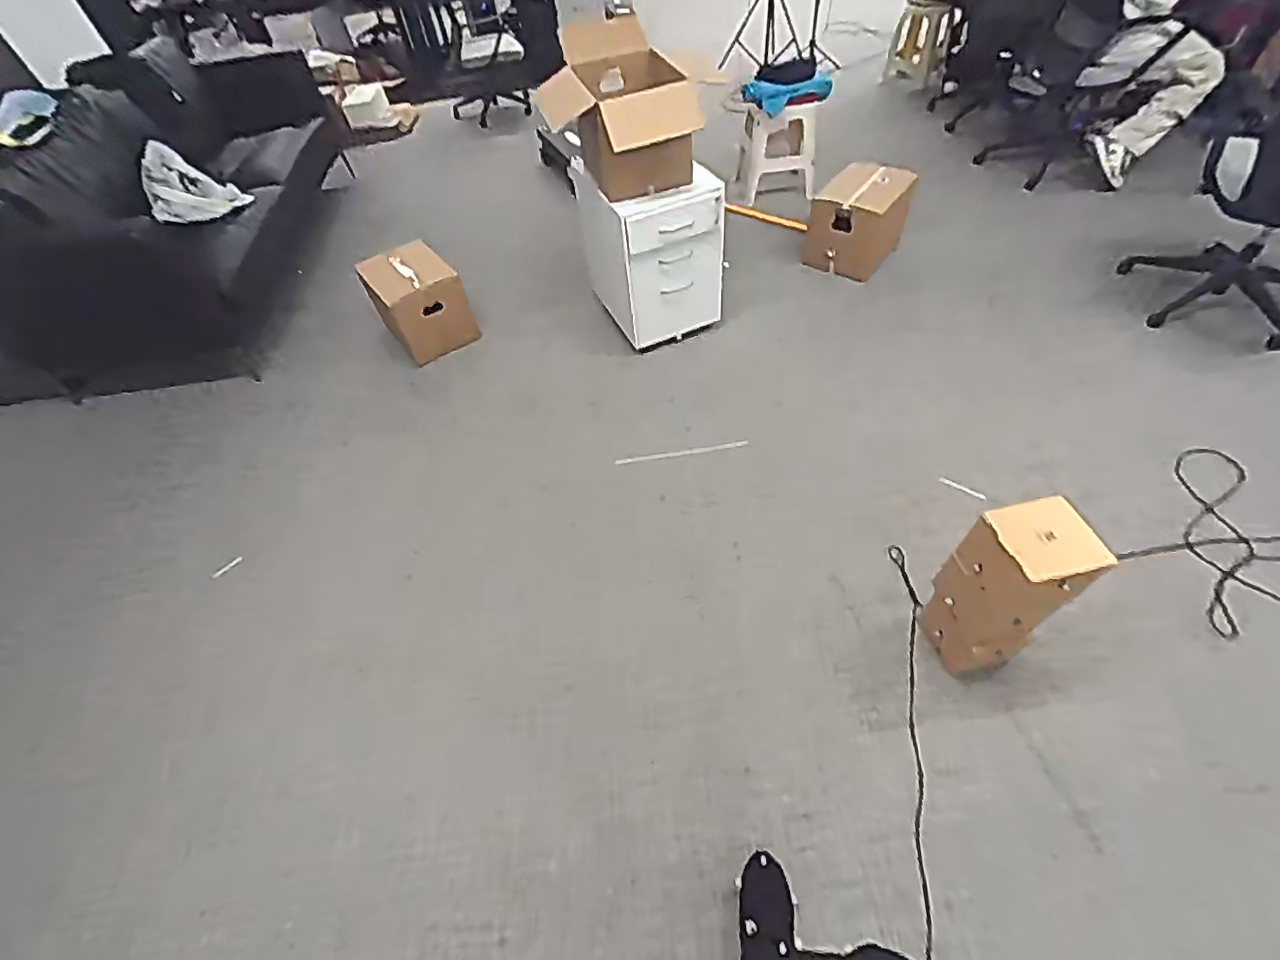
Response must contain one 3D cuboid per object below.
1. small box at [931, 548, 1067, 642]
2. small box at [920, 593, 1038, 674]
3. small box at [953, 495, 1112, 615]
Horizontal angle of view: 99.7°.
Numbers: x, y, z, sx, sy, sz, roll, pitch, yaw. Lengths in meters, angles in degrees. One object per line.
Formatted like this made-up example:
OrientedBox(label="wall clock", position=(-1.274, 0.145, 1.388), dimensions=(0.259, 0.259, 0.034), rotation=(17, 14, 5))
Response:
OrientedBox(label="small box", position=(0.816, 0.255, 1.251), dimensions=(0.179, 0.176, 0.168), rotation=(-12, 50, -1))
OrientedBox(label="small box", position=(0.839, 0.370, 1.367), dimensions=(0.179, 0.176, 0.168), rotation=(-14, 52, -5))
OrientedBox(label="small box", position=(0.797, 0.159, 1.121), dimensions=(0.179, 0.176, 0.168), rotation=(-13, 51, -2))
